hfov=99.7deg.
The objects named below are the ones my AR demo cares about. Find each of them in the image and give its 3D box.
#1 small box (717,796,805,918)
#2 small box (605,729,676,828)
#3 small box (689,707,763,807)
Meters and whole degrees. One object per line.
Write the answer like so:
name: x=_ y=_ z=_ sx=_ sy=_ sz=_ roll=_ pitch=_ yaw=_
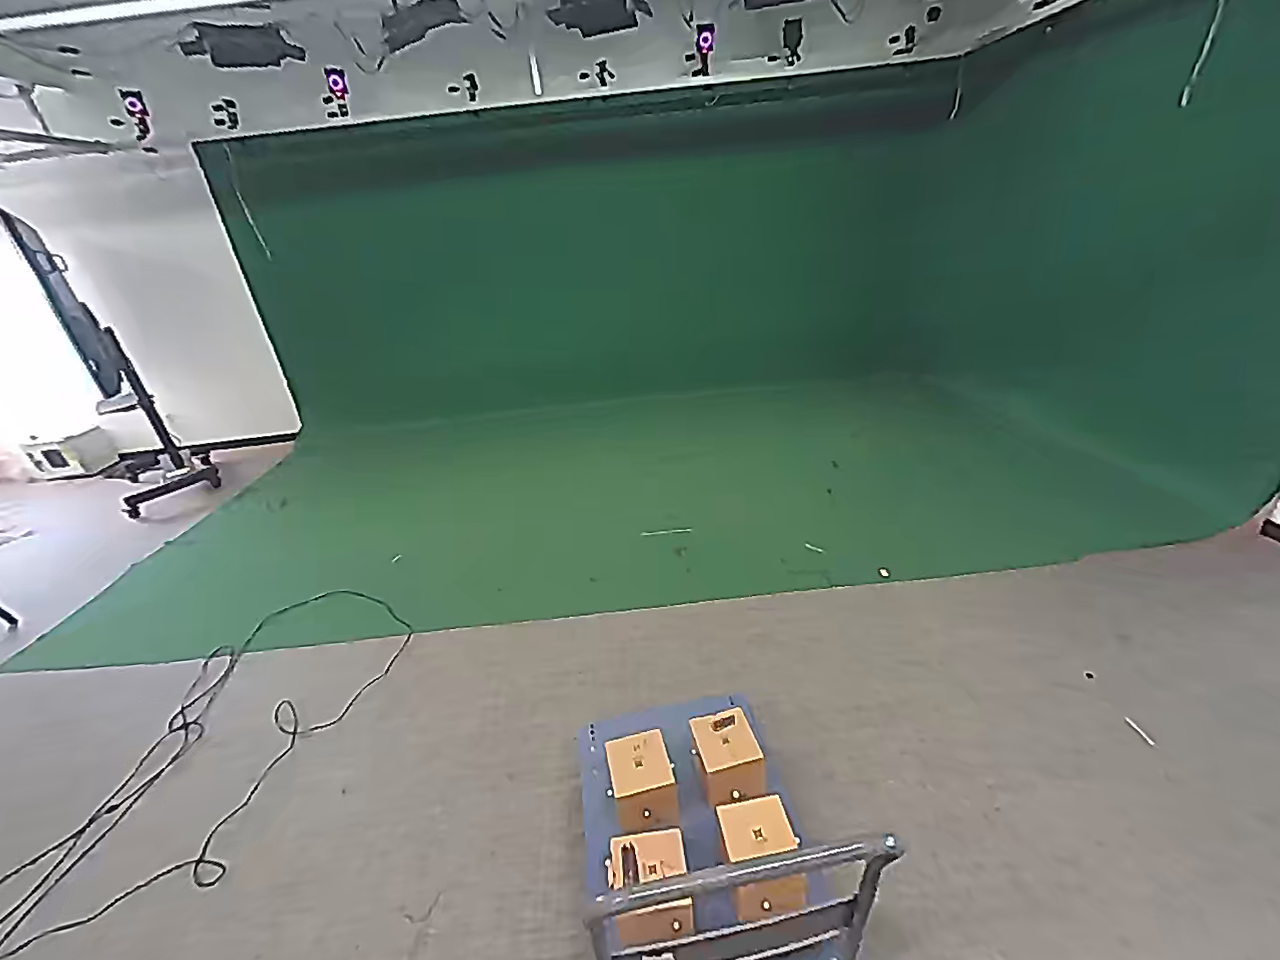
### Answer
small box: x=0.289 y=0.922 z=1.328 sx=0.168 sy=0.176 sz=0.179 roll=-8 pitch=28 yaw=-5
small box: x=0.001 y=0.847 z=1.527 sx=0.168 sy=0.176 sz=0.179 roll=-9 pitch=28 yaw=-9
small box: x=0.246 y=0.801 z=1.566 sx=0.168 sy=0.176 sz=0.179 roll=-11 pitch=29 yaw=-8
